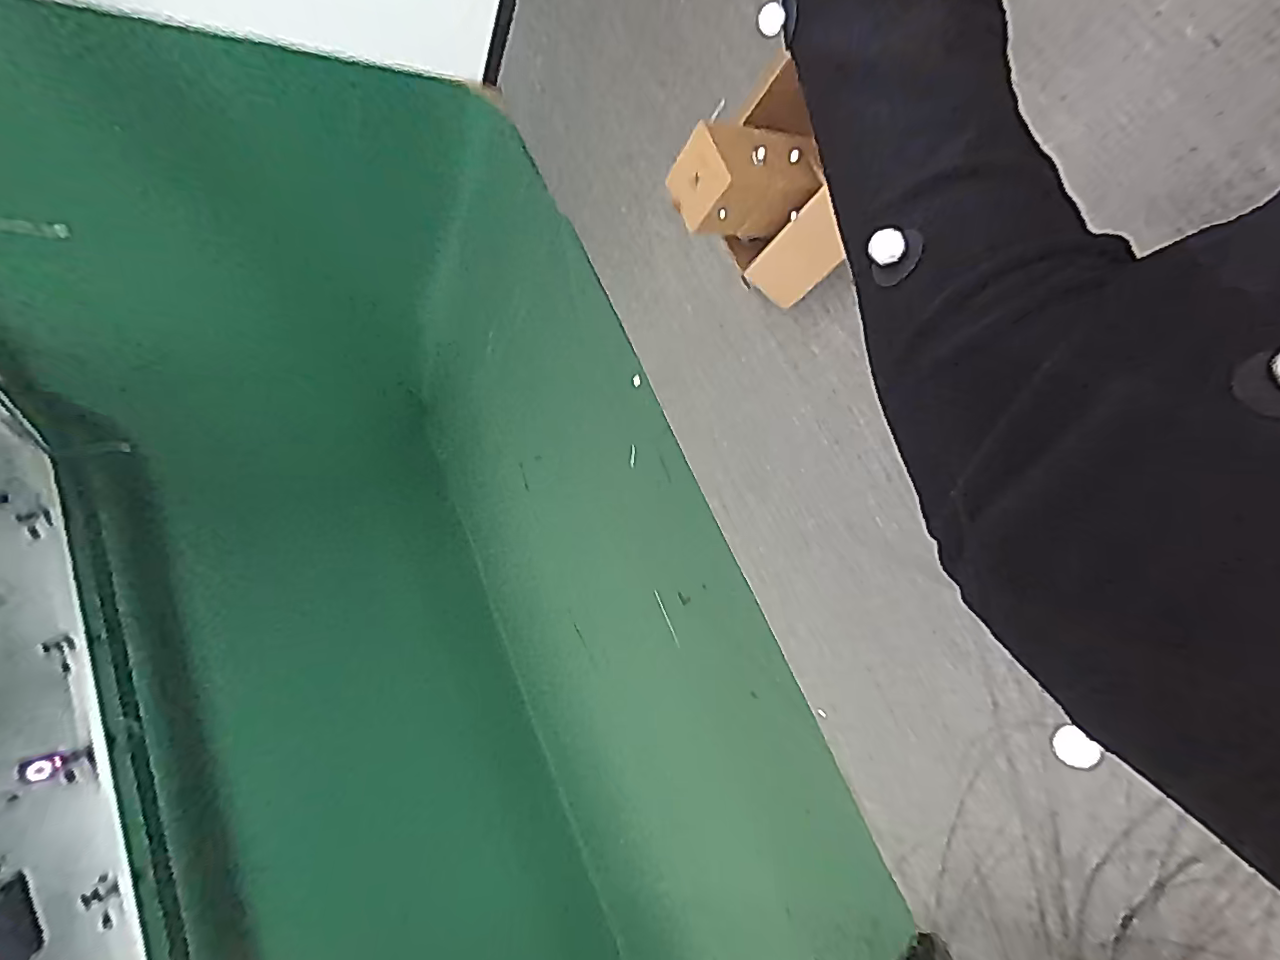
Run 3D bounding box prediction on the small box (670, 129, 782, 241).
[{"bbox_3d":[0.207,-0.706,1.312,0.179,0.176,0.168,-39,73,55],"label":"small box"}]
